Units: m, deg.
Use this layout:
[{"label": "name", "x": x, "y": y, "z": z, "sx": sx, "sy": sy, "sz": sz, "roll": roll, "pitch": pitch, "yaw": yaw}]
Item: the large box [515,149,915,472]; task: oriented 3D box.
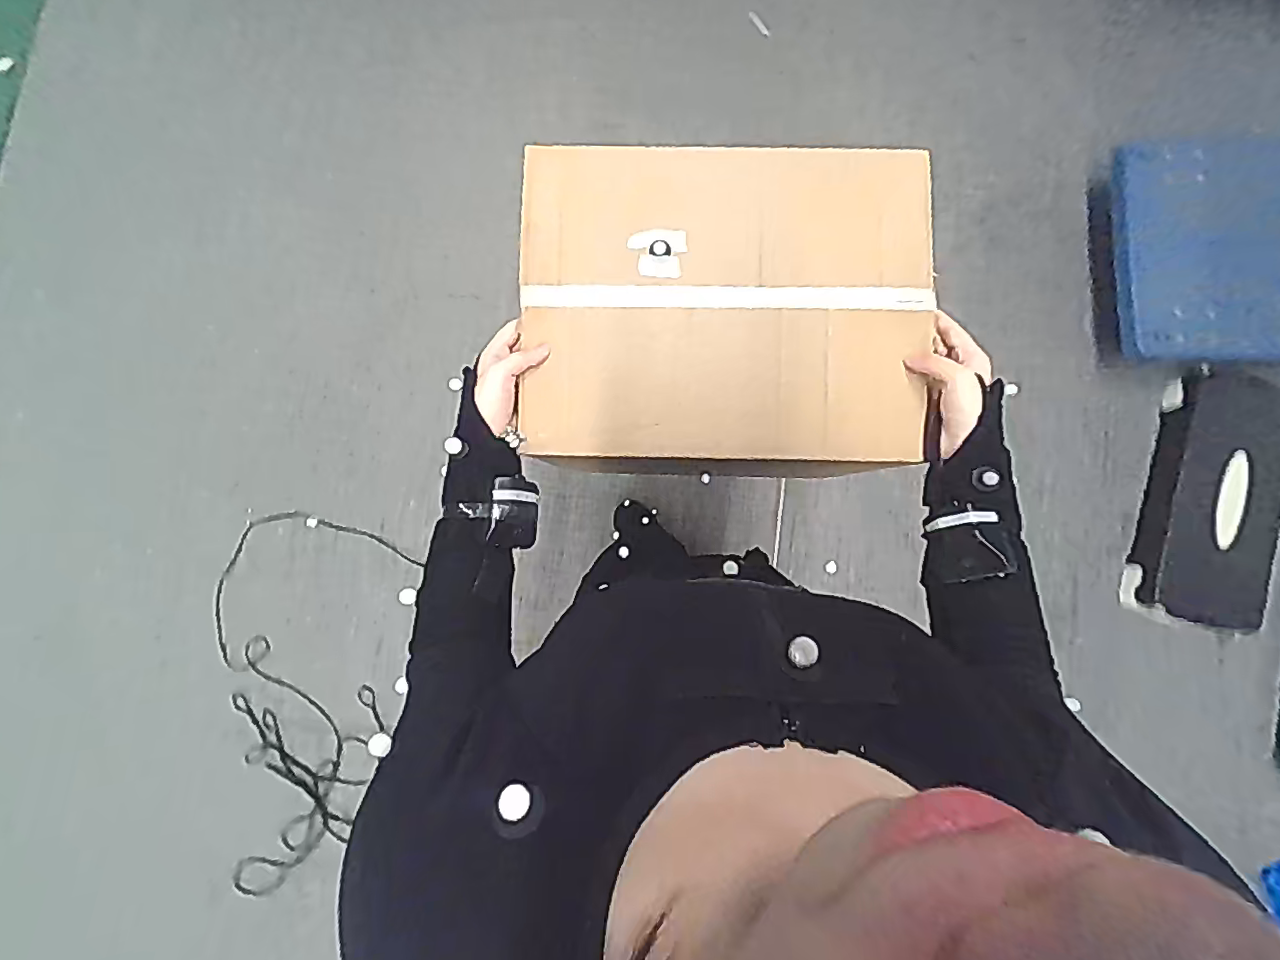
[{"label": "large box", "x": 0.079, "y": -0.172, "z": 0.695, "sx": 0.408, "sy": 0.320, "sz": 0.320, "roll": -1, "pitch": 87, "yaw": 2}]
